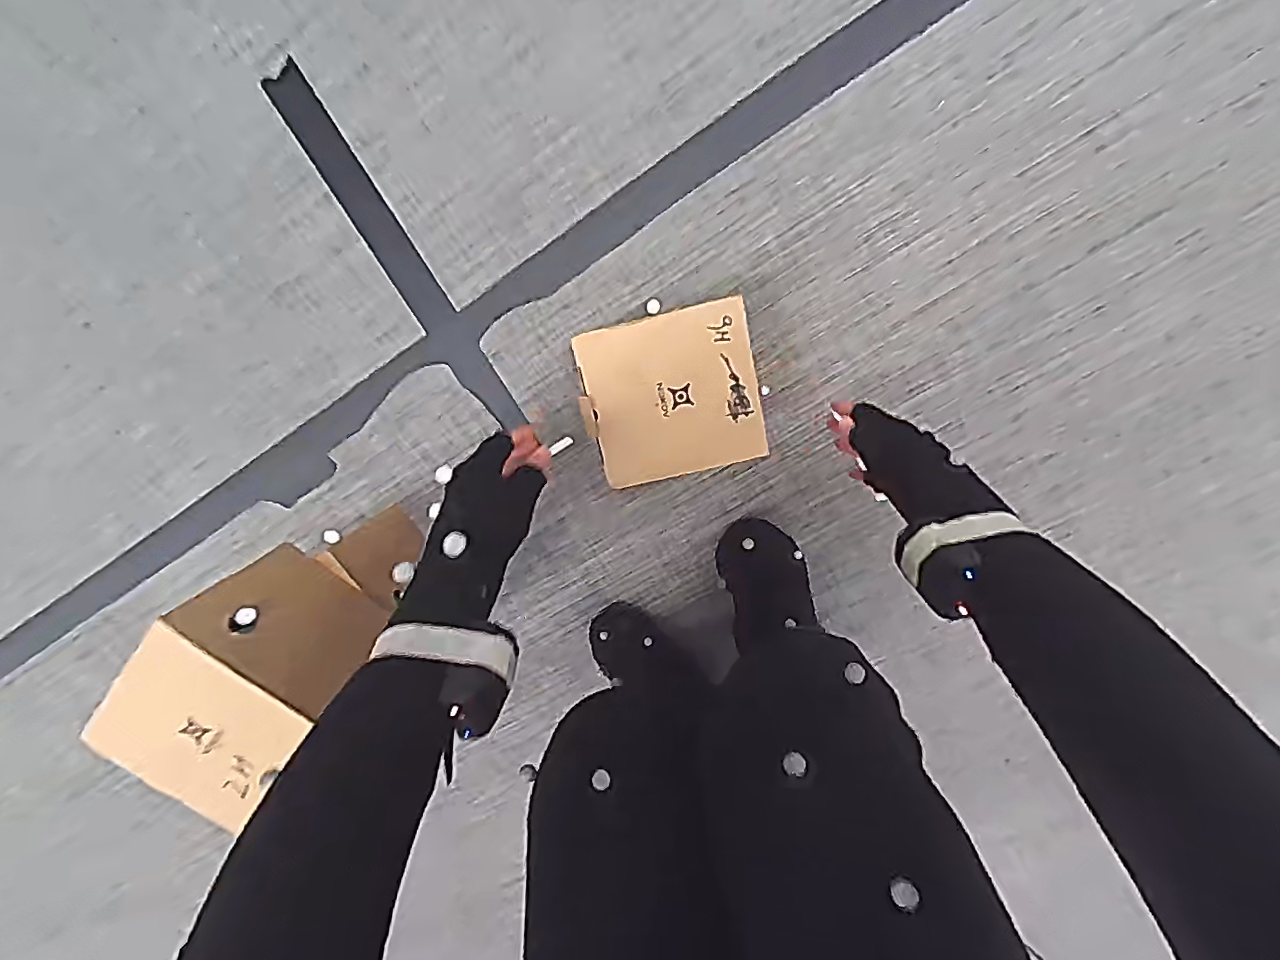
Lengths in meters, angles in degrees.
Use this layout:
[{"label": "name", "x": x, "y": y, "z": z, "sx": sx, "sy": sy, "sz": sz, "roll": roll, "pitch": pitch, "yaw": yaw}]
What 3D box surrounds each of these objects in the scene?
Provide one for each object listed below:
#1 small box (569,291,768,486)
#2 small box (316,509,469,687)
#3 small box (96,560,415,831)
[{"label": "small box", "x": 0.034, "y": -0.109, "z": 0.630, "sx": 0.179, "sy": 0.176, "sz": 0.168, "roll": -15, "pitch": 105, "yaw": 5}, {"label": "small box", "x": -0.364, "y": 0.167, "z": 0.728, "sx": 0.168, "sy": 0.176, "sz": 0.179, "roll": -32, "pitch": 102, "yaw": 11}, {"label": "small box", "x": -0.381, "y": 0.208, "z": 0.569, "sx": 0.179, "sy": 0.176, "sz": 0.168, "roll": 42, "pitch": 105, "yaw": -12}]
